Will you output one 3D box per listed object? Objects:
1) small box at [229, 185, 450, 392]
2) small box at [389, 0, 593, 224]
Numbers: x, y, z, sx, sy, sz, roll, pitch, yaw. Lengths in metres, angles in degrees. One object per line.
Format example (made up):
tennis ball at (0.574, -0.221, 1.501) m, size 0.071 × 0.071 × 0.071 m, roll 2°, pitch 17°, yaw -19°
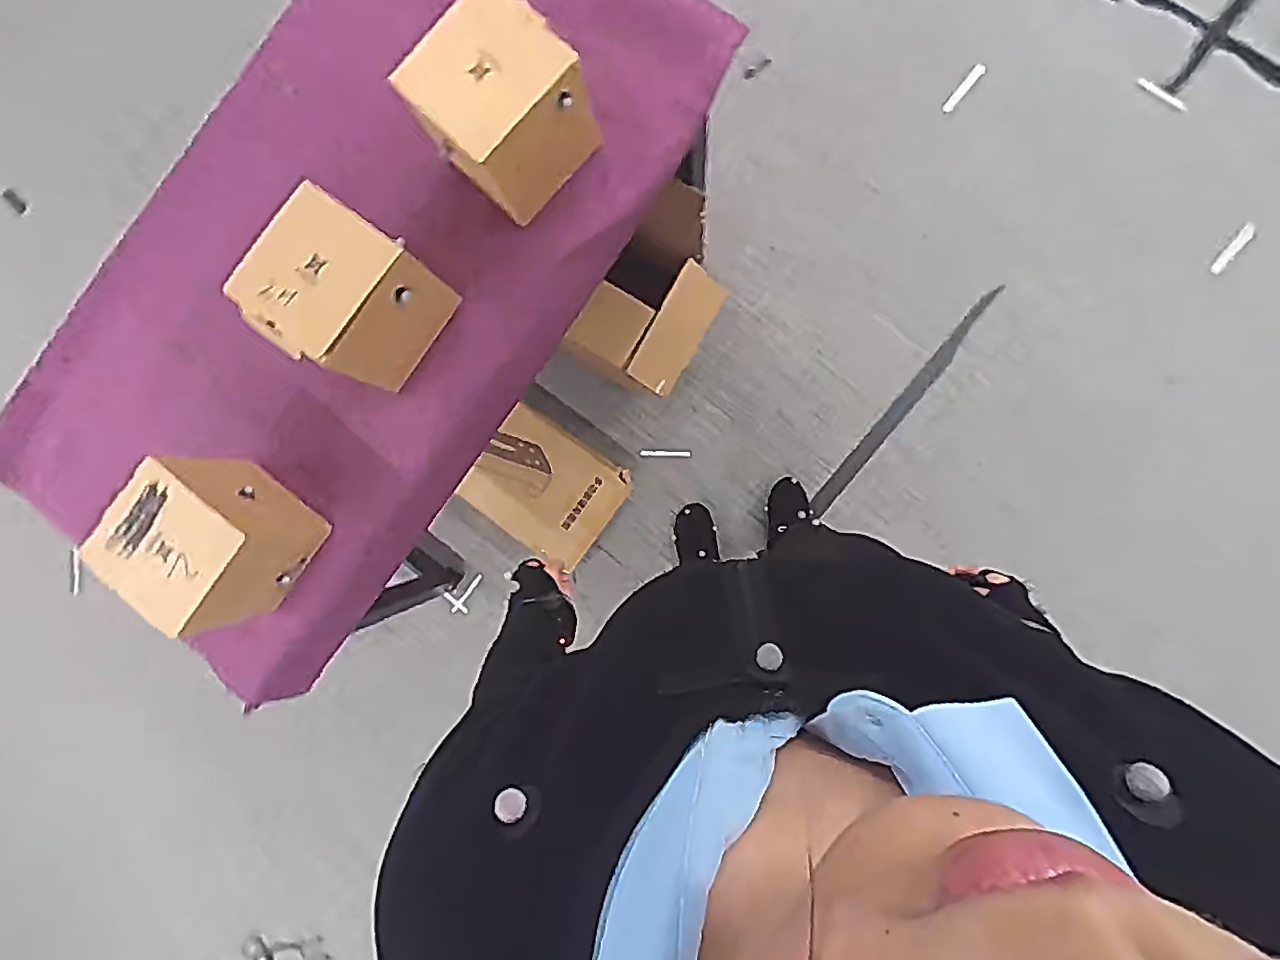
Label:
small box at (-0.390, -0.248, 0.742) m, size 0.168 × 0.176 × 0.179 m, roll 36°, pitch 92°, yaw 7°
small box at (-0.185, -0.490, 0.729) m, size 0.168 × 0.176 × 0.179 m, roll 43°, pitch 92°, yaw 5°
